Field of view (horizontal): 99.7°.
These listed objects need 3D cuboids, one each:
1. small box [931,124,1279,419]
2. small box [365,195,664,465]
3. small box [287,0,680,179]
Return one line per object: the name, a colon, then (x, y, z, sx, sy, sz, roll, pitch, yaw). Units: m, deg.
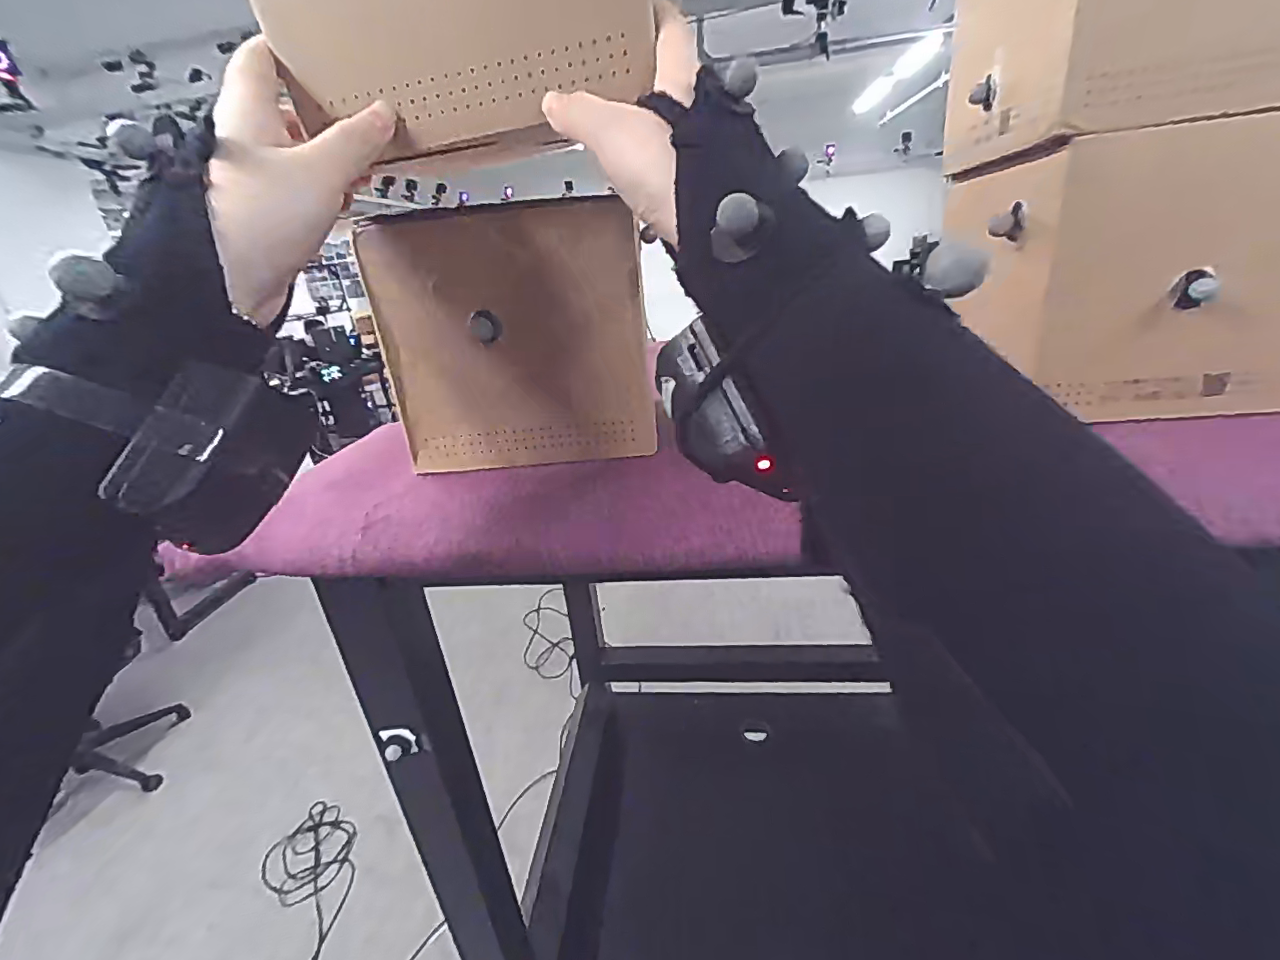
small box: (0.338, -0.145, 0.399, 0.168, 0.176, 0.179, -2, 22, 8)
small box: (-0.077, -0.118, 0.434, 0.179, 0.176, 0.168, -5, 24, 3)
small box: (-0.077, -0.272, 0.295, 0.179, 0.176, 0.168, -7, 29, 6)
